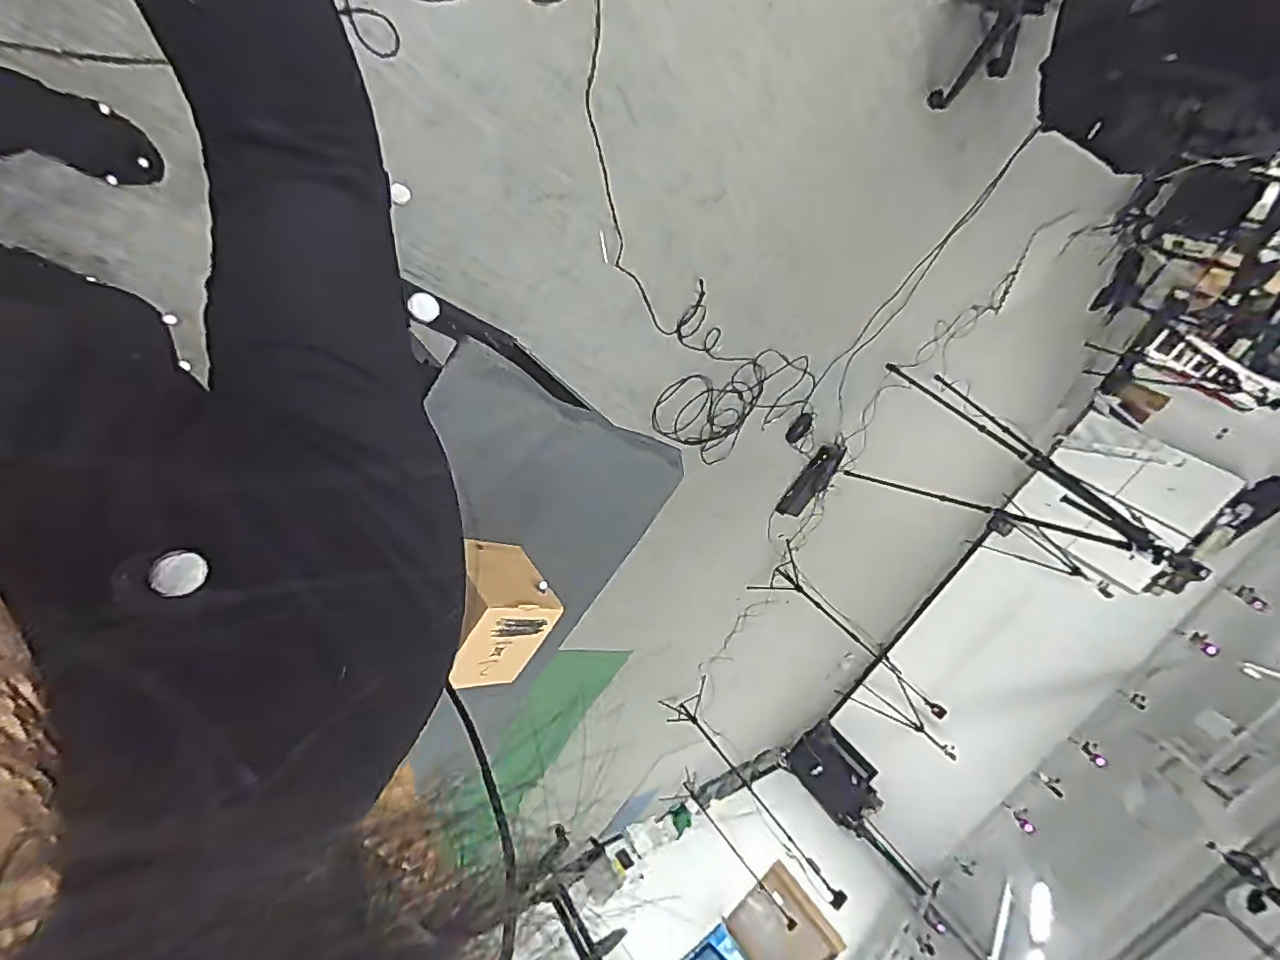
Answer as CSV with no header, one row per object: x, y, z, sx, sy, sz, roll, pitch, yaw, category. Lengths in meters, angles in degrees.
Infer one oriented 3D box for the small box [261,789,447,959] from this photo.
-0.443,0.613,0.837,0.168,0.176,0.179,-53,143,6,small box

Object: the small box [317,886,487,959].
-0.344,0.706,0.745,0.179,0.176,0.168,-52,145,4,small box
